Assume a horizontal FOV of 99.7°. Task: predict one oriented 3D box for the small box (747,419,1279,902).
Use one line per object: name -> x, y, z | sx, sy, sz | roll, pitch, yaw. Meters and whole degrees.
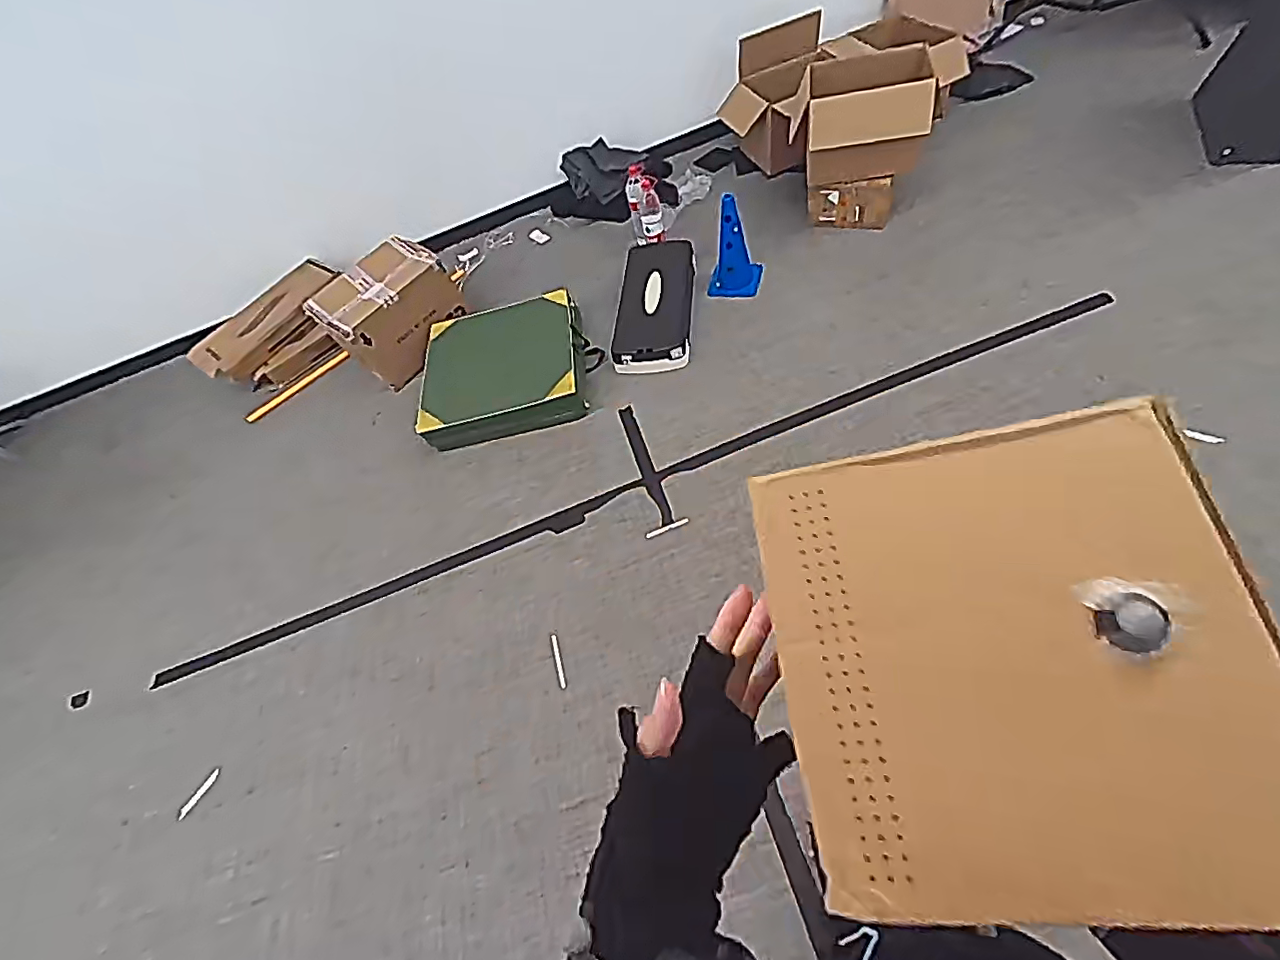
small box -> 0.160, 0.094, 0.289 | 0.176, 0.168, 0.179 | -13, 69, 17
